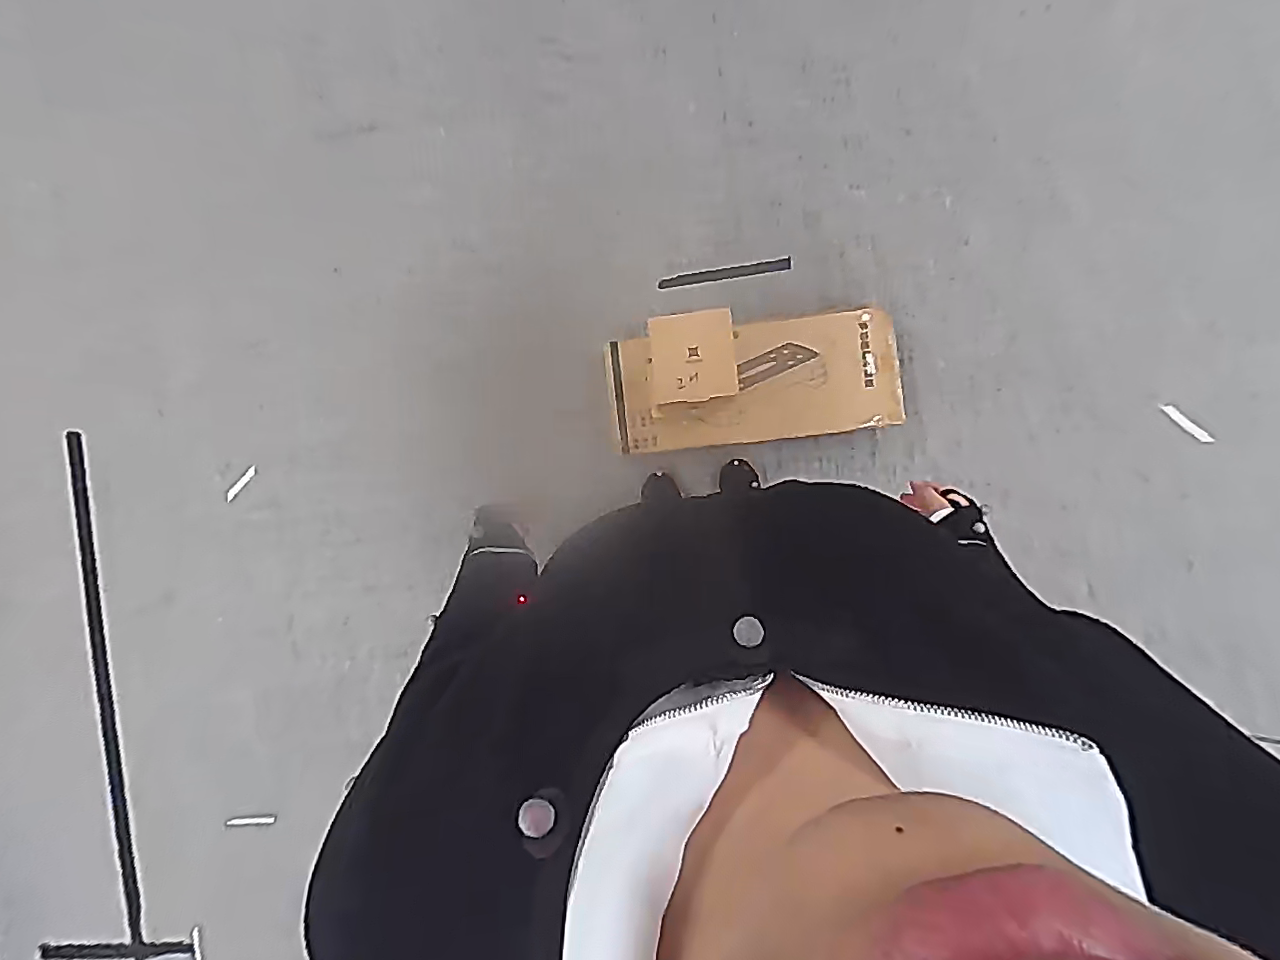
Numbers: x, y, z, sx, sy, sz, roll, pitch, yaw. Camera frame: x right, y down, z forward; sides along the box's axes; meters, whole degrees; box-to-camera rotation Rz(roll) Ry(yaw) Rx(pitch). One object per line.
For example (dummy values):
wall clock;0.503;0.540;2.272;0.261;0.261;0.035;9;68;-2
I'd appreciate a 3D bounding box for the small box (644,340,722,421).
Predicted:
small box;0.102;-0.245;1.313;0.168;0.176;0.179;-7;91;4

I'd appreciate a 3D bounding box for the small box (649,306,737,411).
small box;0.108;-0.250;1.147;0.168;0.176;0.179;-6;91;4
